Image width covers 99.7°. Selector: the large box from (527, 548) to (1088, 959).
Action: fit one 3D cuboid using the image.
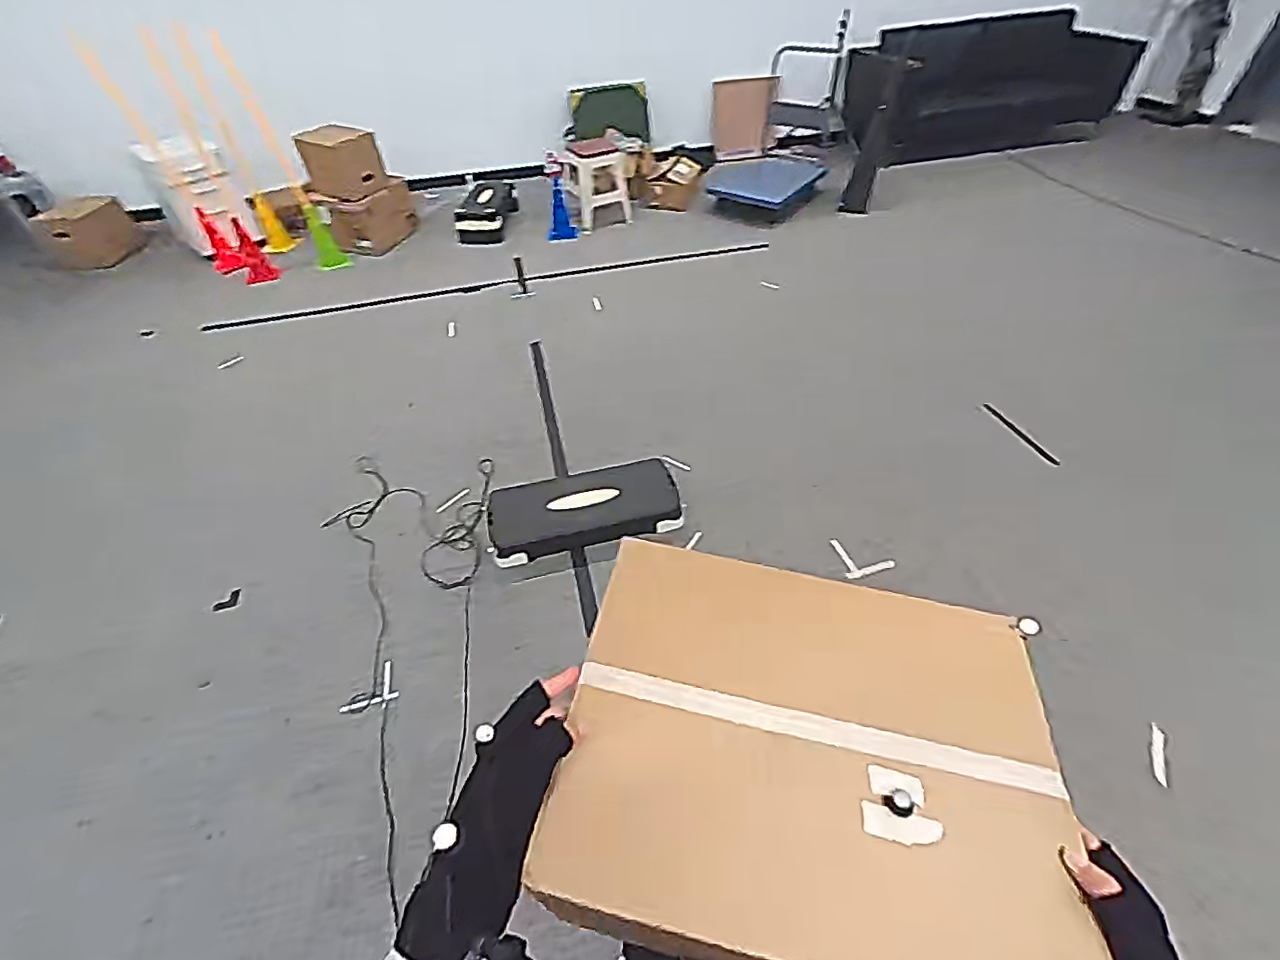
[{"bbox_3d":[0.129,0.314,0.583,0.408,0.320,0.320,10,47,6],"label":"large box"}]
